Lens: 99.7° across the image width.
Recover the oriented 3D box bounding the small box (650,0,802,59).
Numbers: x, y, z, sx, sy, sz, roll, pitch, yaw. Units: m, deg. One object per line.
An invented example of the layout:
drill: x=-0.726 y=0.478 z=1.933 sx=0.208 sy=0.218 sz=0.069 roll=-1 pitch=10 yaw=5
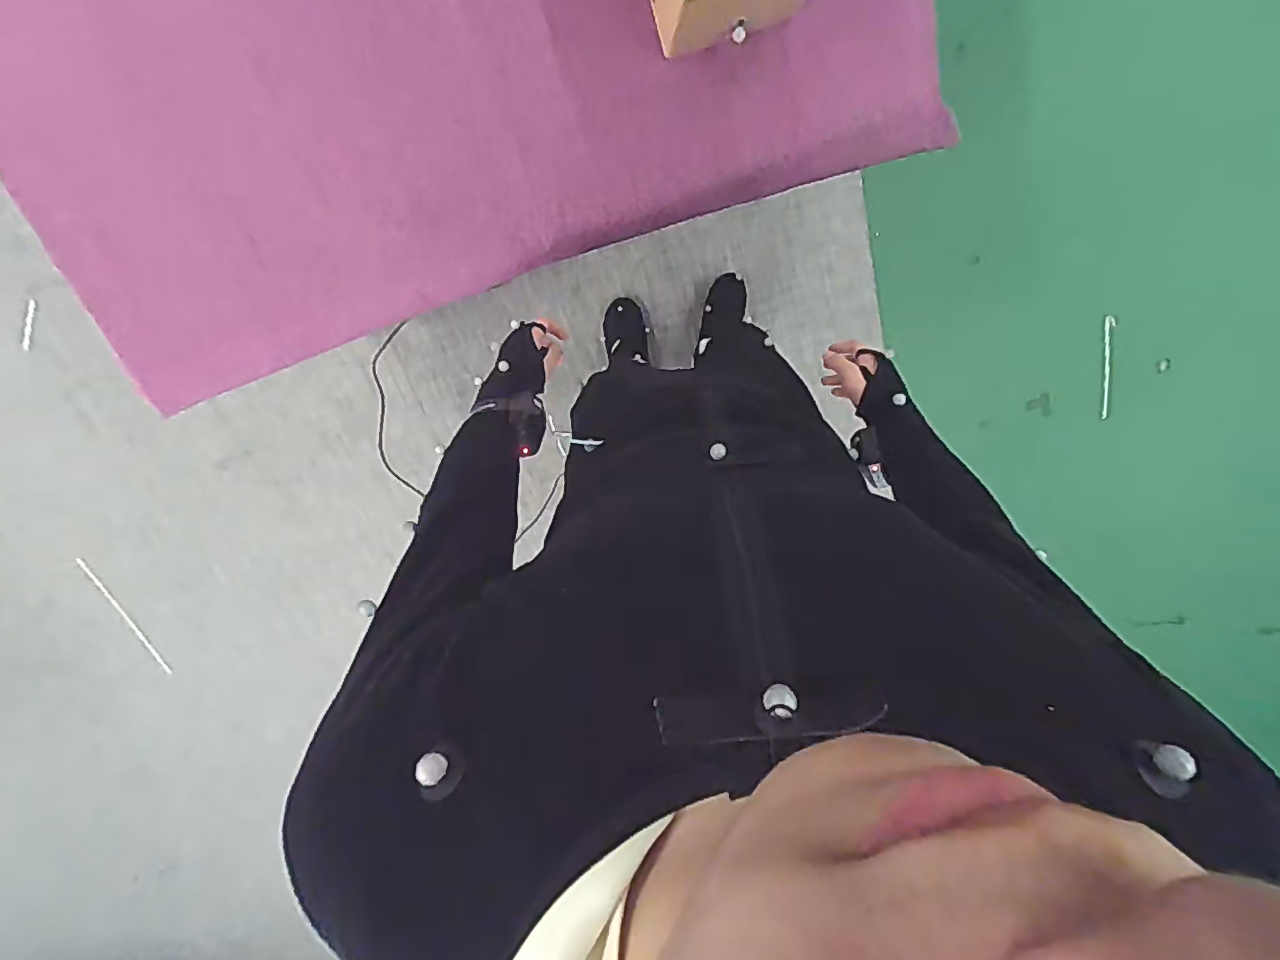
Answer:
small box: x=0.097 y=-0.605 z=0.586 sx=0.179 sy=0.176 sz=0.168 roll=-18 pitch=110 yaw=3
